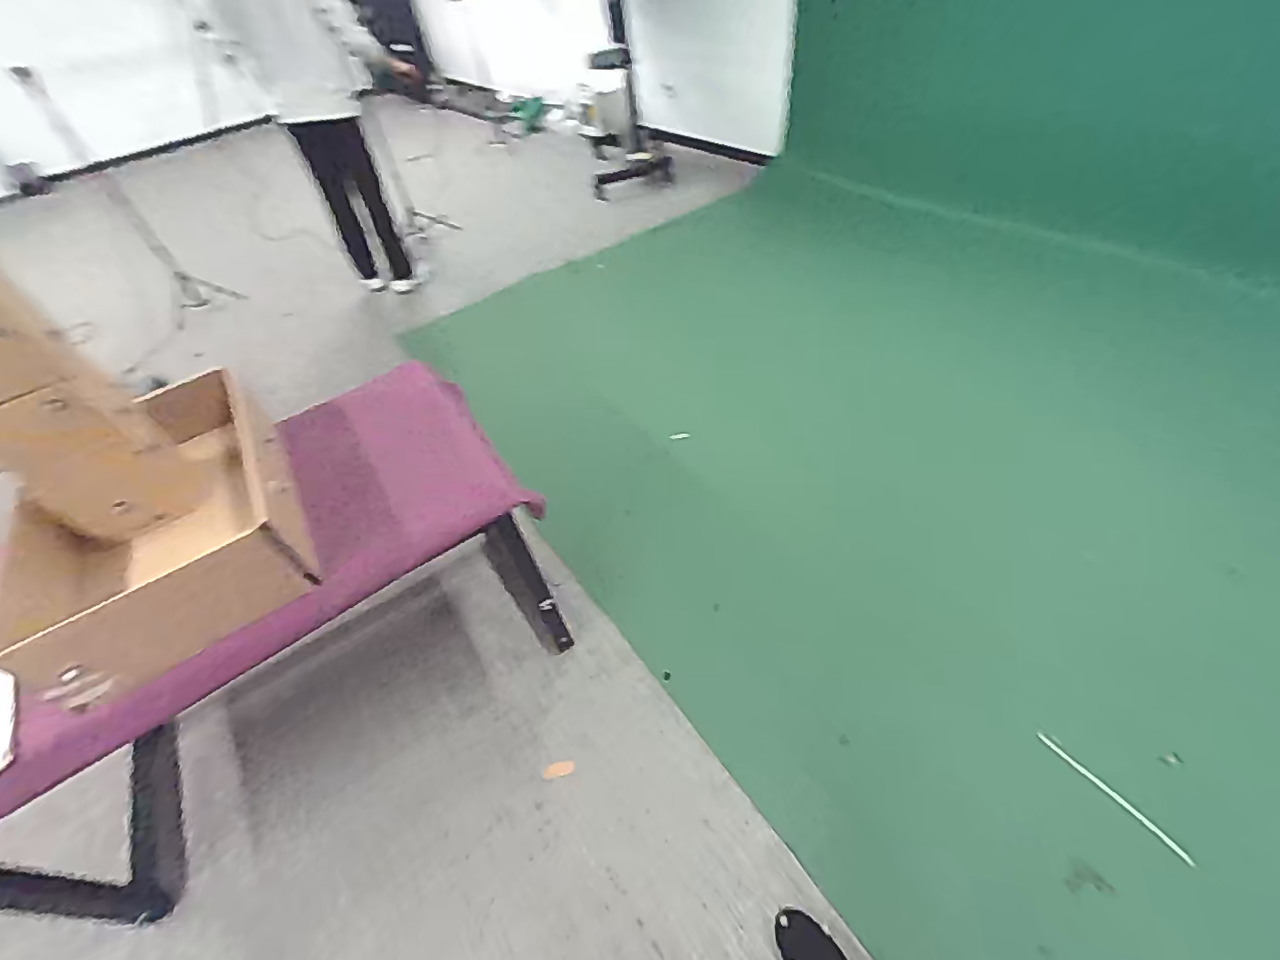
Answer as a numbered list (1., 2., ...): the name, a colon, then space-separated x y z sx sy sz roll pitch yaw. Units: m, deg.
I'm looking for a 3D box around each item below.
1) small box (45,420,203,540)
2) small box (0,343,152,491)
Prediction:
1. small box: -1.027 -0.003 1.093 0.168 0.176 0.179 -30 51 -18
2. small box: -1.039 -0.111 0.973 0.179 0.176 0.168 -32 52 -19
